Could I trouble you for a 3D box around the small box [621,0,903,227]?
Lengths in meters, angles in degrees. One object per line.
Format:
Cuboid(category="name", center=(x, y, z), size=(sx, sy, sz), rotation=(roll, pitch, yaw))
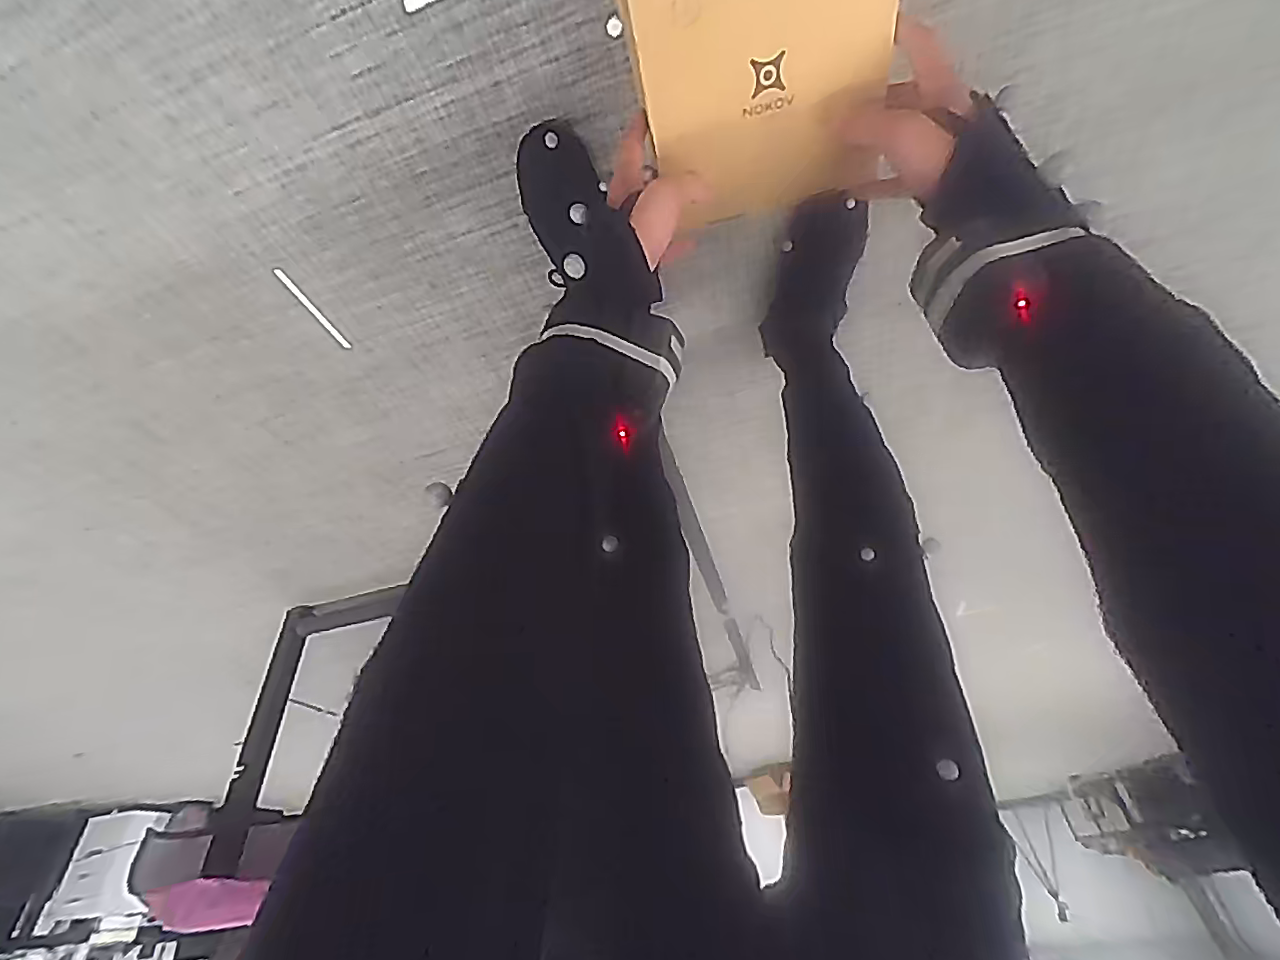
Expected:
Cuboid(category="small box", center=(0.077, -0.331, 0.402), size=(0.168, 0.176, 0.179), rotation=(-12, 145, 8))
